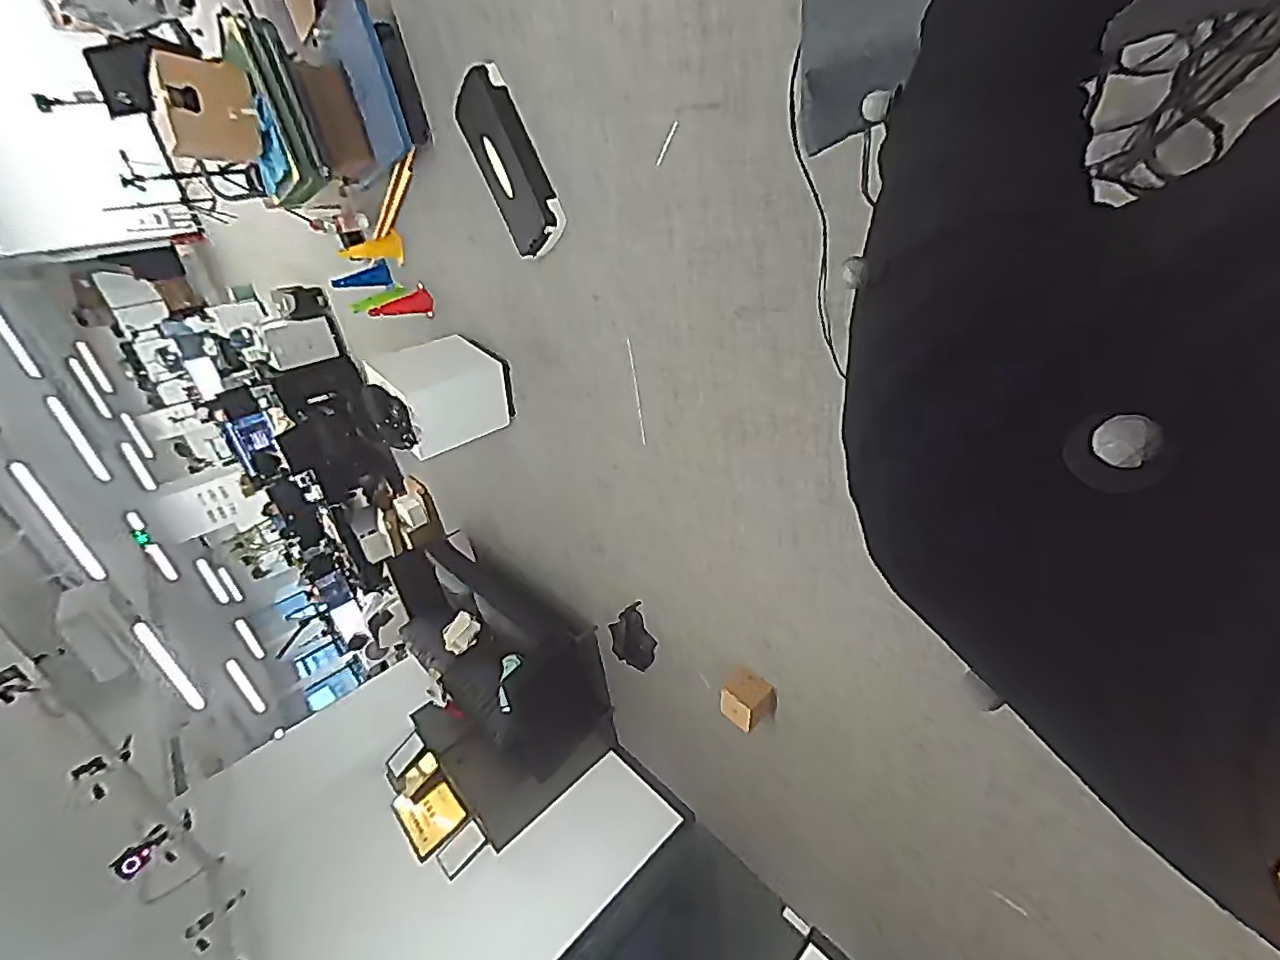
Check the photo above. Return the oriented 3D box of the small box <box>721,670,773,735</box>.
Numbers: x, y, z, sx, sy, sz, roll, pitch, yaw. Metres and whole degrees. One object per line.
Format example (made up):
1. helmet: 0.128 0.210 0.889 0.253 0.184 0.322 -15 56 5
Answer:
1. small box: 0.487 1.003 2.456 0.168 0.176 0.179 30 136 41
